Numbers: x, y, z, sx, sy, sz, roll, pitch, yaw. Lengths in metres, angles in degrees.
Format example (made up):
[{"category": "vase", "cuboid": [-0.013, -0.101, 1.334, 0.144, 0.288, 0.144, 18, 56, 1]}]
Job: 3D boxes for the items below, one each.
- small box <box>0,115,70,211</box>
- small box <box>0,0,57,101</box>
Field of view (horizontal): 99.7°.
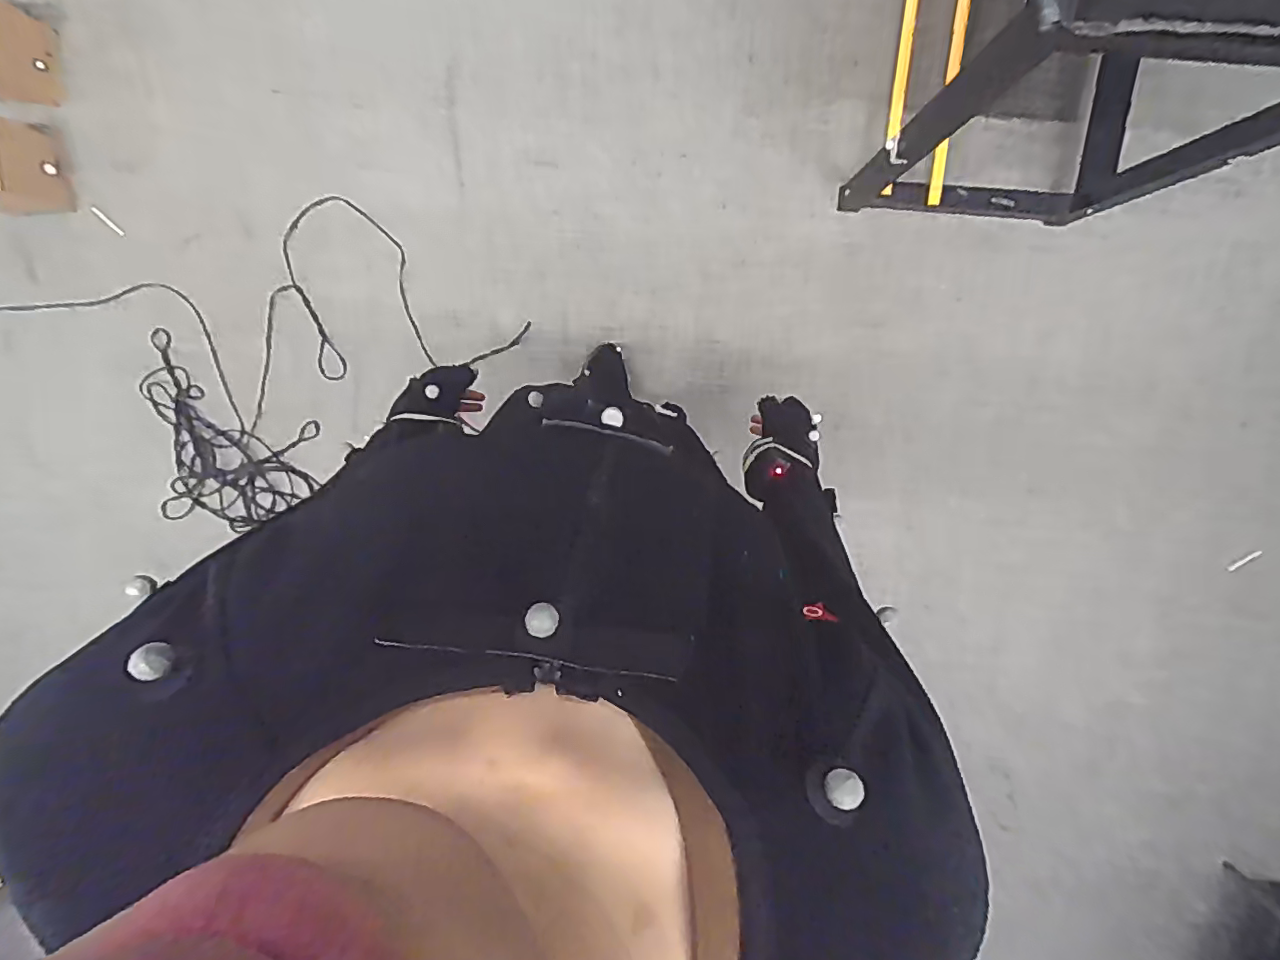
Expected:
[{"category": "small box", "cuboid": [-1.517, -0.742, 1.264, 0.179, 0.176, 0.168, -3, 102, 1]}, {"category": "small box", "cuboid": [-1.494, -0.989, 1.220, 0.179, 0.176, 0.168, 5, 101, -1]}]
